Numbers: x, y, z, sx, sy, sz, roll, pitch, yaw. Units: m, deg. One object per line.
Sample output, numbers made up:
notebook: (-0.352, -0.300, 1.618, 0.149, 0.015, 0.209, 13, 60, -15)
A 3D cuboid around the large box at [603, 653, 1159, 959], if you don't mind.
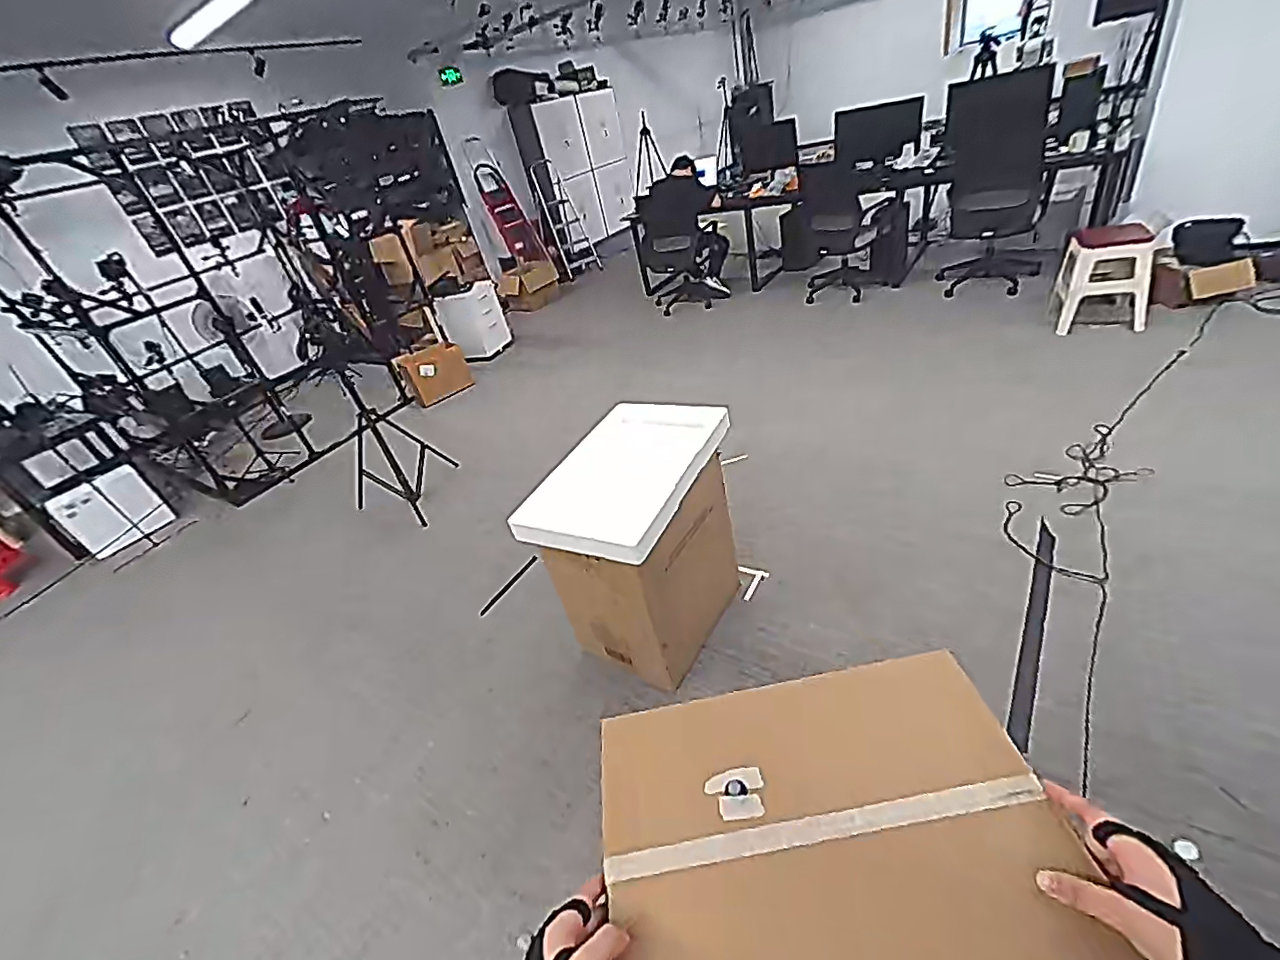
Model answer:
large box: (0.200, 0.442, 0.570, 0.408, 0.320, 0.320, -14, 32, 4)
